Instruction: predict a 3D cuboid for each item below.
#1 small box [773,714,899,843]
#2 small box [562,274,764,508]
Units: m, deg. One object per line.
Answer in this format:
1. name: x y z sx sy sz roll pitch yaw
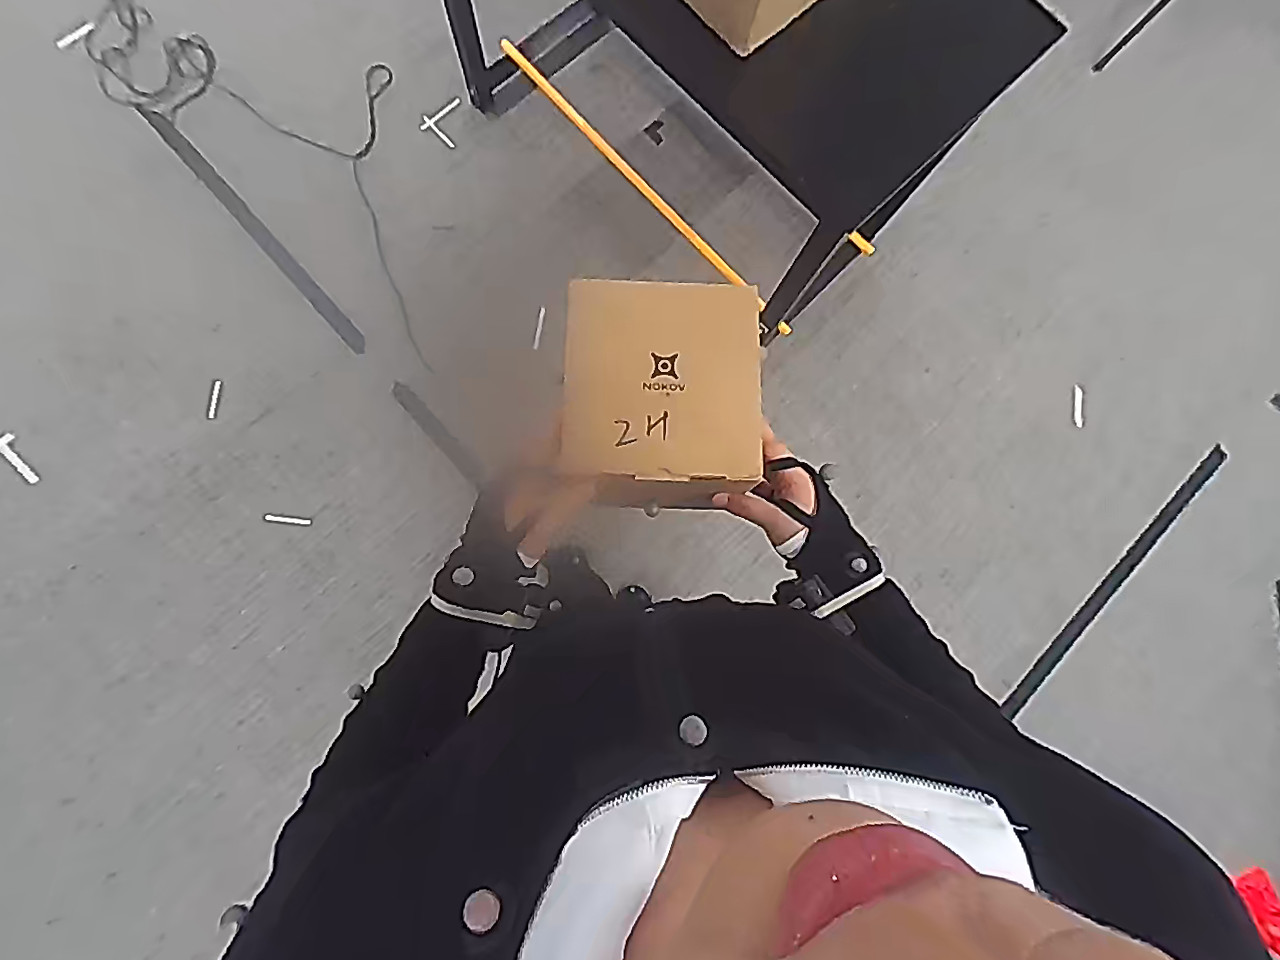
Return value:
1. small box: 0.432 0.659 1.225 0.168 0.176 0.179 -43 86 -10
2. small box: 0.017 -0.074 0.527 0.168 0.176 0.179 1 78 -2
